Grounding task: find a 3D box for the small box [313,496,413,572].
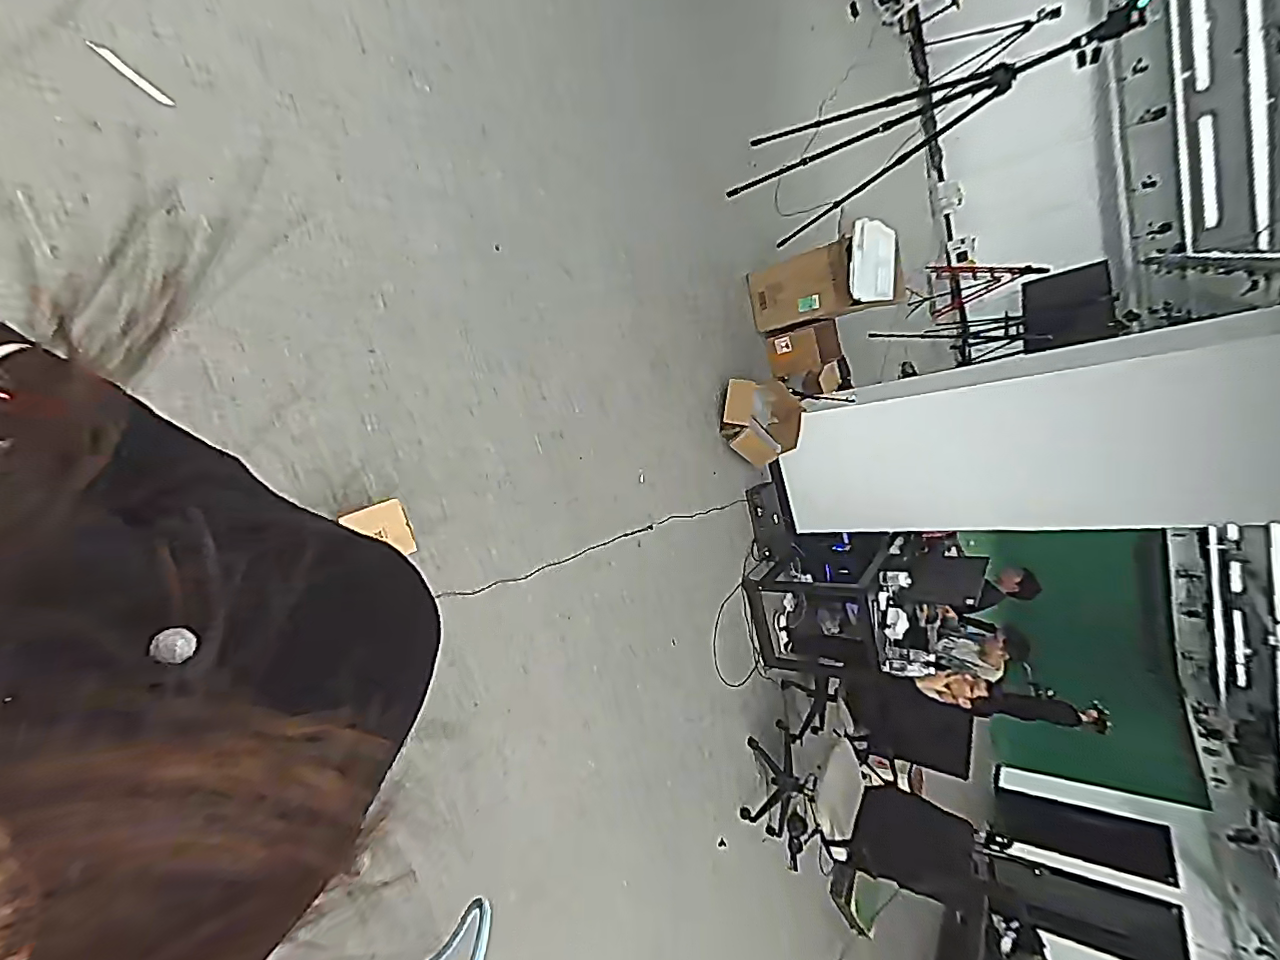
[{"bbox_3d":[-0.790,0.152,1.542,0.179,0.176,0.168,-26,104,-48],"label":"small box"}]
